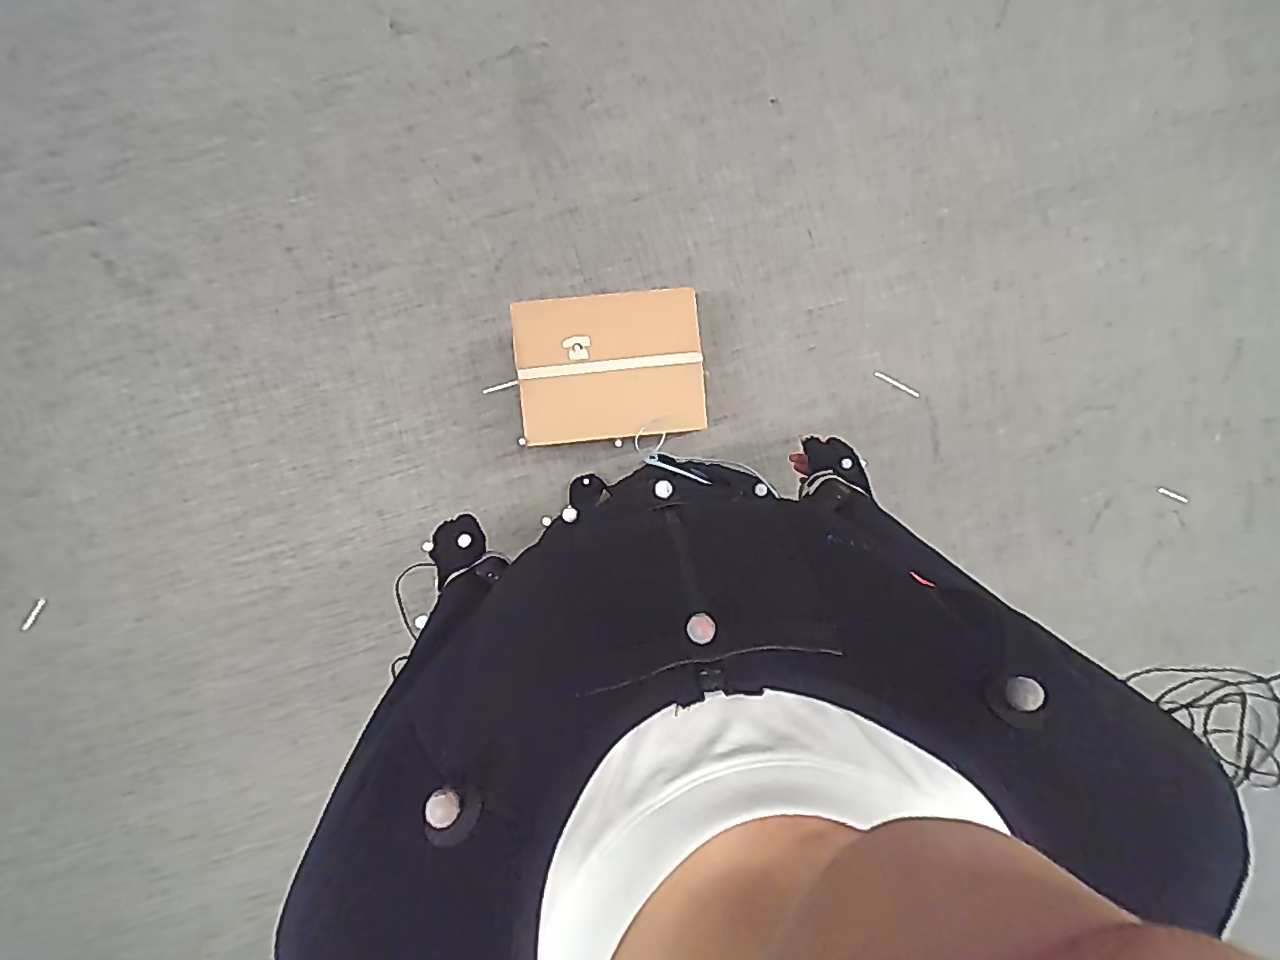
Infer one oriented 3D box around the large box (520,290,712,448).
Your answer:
[{"bbox_3d":[-0.052,-0.256,1.342,0.408,0.320,0.320,-6,93,-1],"label":"large box"}]
